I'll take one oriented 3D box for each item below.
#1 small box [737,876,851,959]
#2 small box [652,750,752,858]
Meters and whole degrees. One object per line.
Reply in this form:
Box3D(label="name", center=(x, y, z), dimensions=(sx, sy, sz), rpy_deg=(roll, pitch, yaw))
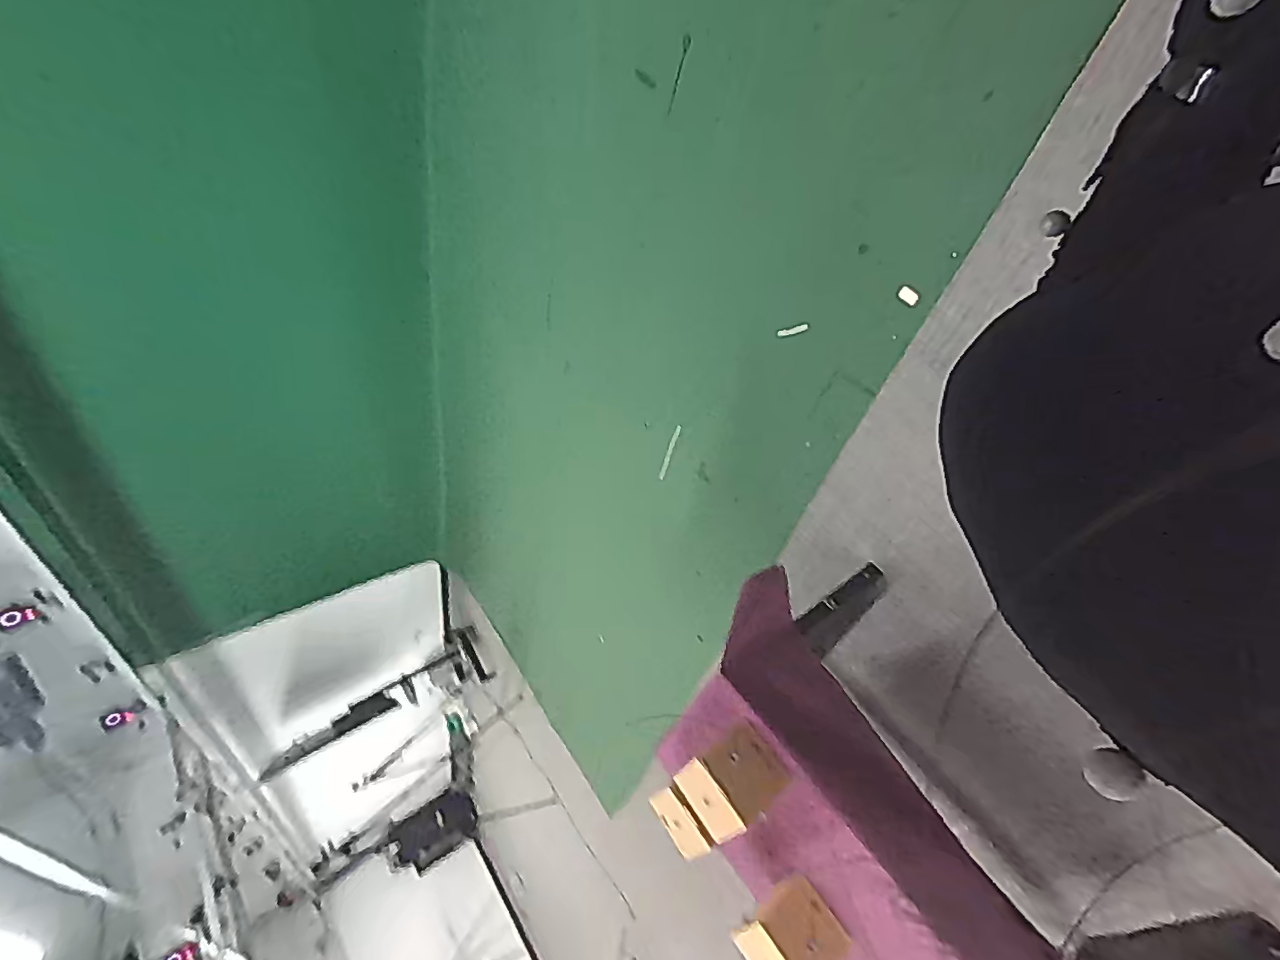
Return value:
Box3D(label="small box", center=(0.366, 1.079, 1.273), dimensions=(0.168, 0.176, 0.179), rpy_deg=(46, 140, 28))
Box3D(label="small box", center=(0.165, 0.843, 1.415), dimensions=(0.168, 0.176, 0.179), rpy_deg=(52, 141, 23))
